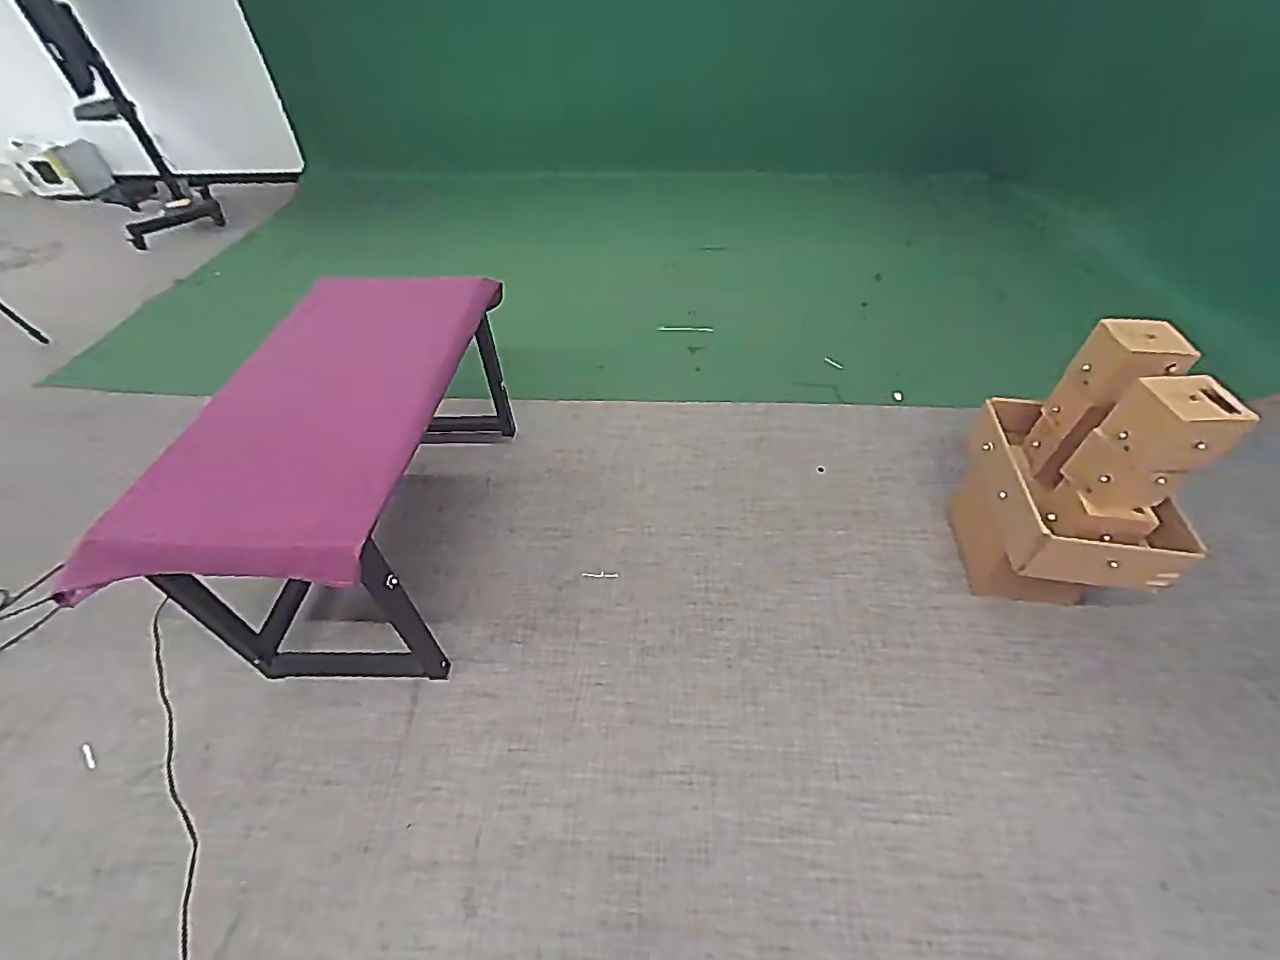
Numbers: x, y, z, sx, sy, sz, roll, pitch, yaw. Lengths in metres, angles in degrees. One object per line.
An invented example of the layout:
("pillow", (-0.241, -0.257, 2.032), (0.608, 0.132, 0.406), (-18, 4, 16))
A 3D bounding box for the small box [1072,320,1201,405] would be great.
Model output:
("small box", (1.367, -0.325, 1.505), (0.179, 0.176, 0.168), (4, 46, 6))

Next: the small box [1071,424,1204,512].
("small box", (1.309, -0.028, 1.447), (0.179, 0.176, 0.168), (-6, 47, -5))

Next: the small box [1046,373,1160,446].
("small box", (1.379, -0.213, 1.625), (0.179, 0.176, 0.168), (4, 46, 6))
